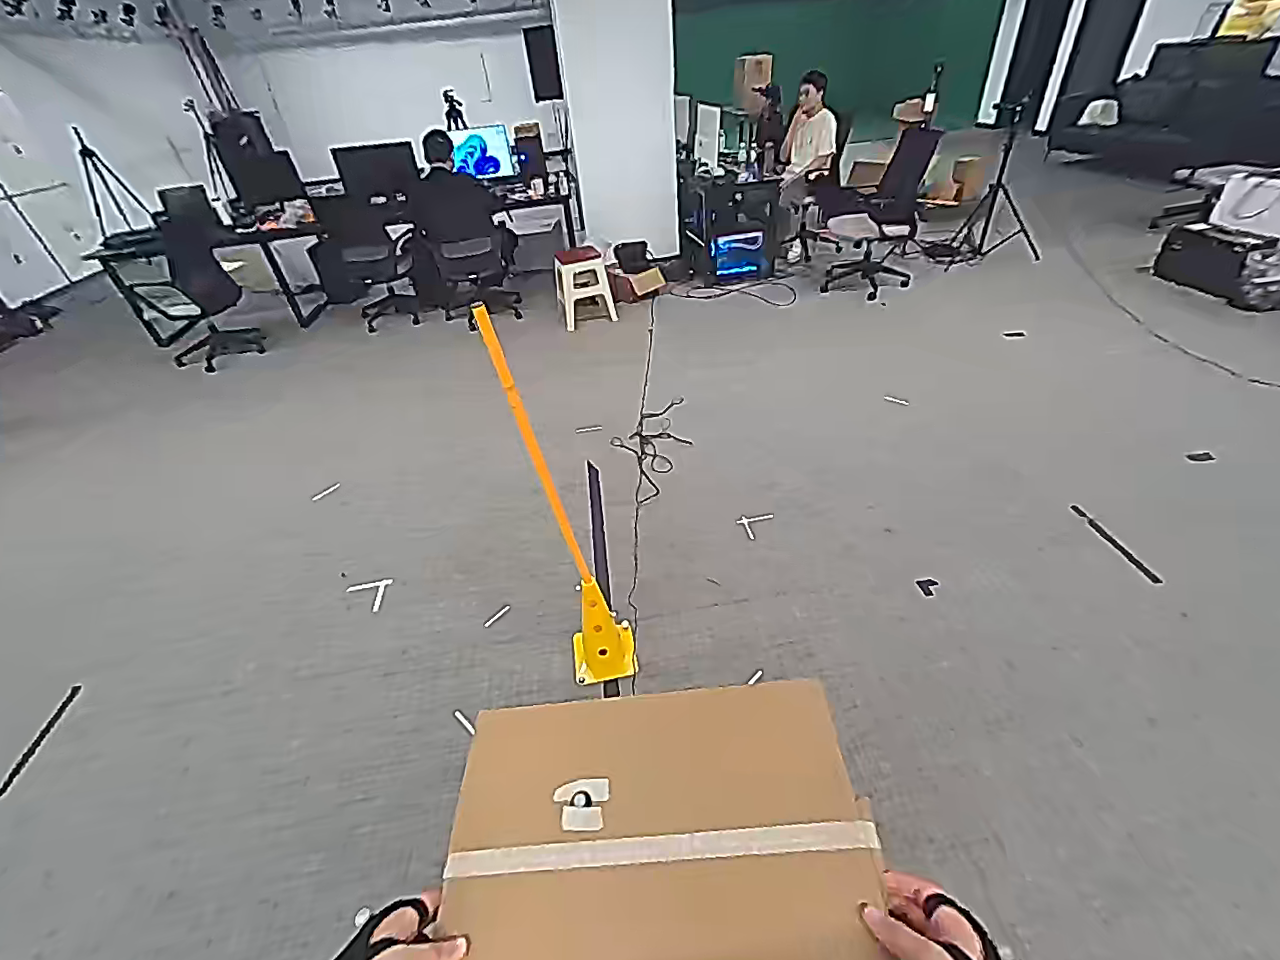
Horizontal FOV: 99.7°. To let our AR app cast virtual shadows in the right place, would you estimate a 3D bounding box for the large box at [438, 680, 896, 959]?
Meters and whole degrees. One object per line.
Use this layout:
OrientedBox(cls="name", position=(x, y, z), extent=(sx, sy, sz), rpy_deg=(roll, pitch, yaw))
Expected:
OrientedBox(cls="large box", position=(0.039, 0.471, 0.619), extent=(0.408, 0.320, 0.320), rpy_deg=(-10, 39, 6))
